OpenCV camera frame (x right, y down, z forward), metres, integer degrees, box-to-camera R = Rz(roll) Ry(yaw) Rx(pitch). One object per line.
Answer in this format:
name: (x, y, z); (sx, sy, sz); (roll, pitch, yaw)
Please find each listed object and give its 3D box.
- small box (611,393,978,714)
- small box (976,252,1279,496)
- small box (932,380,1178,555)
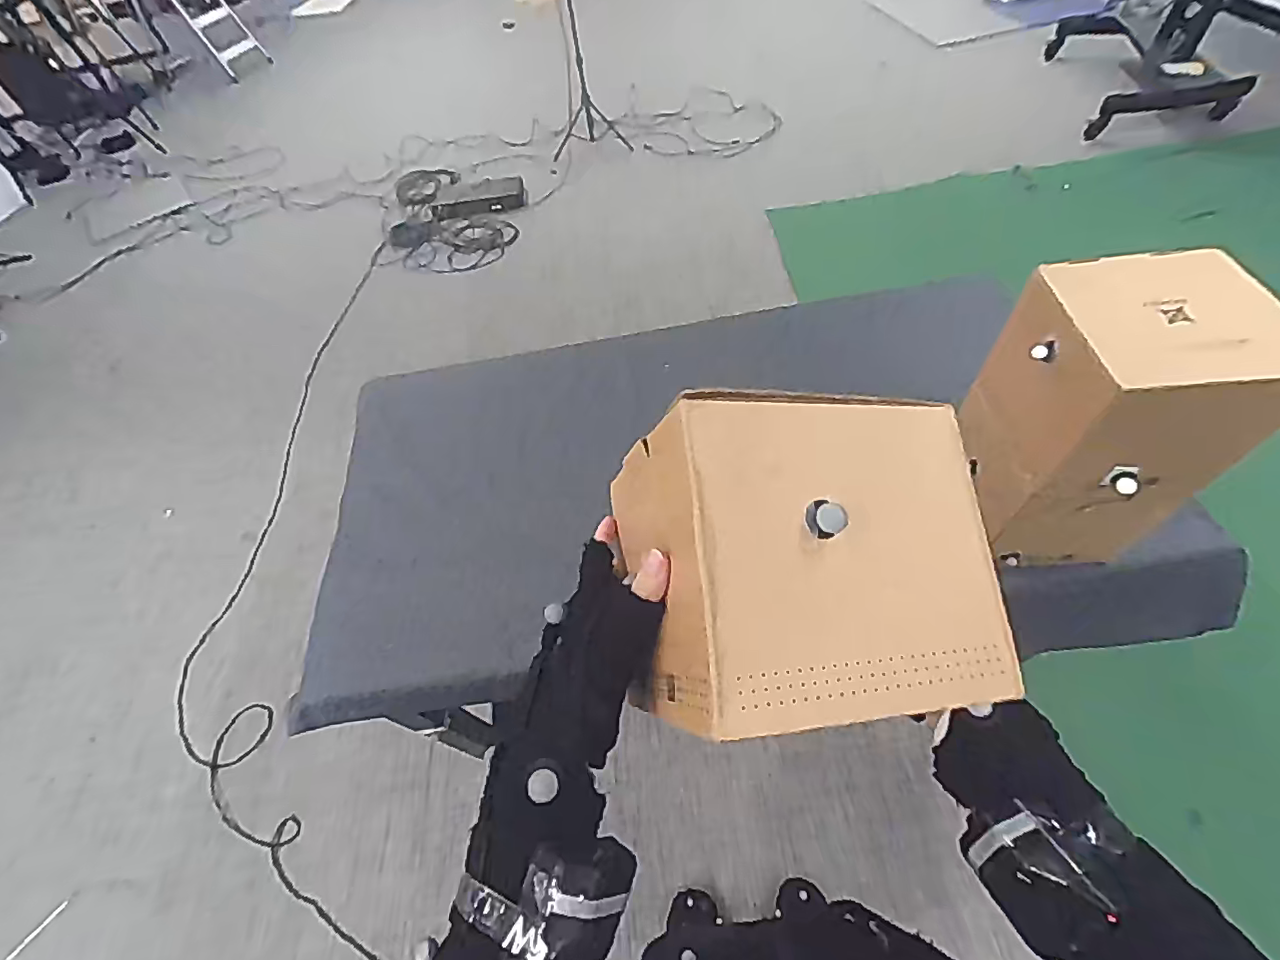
small box: (0.087, 0.052, 0.367); (0.179, 0.168, 0.176); (-1, 76, -16)
small box: (0.480, -0.102, 0.553); (0.168, 0.176, 0.179); (-3, 56, 7)
small box: (0.502, -0.013, 0.687); (0.168, 0.176, 0.179); (-3, 54, 6)
